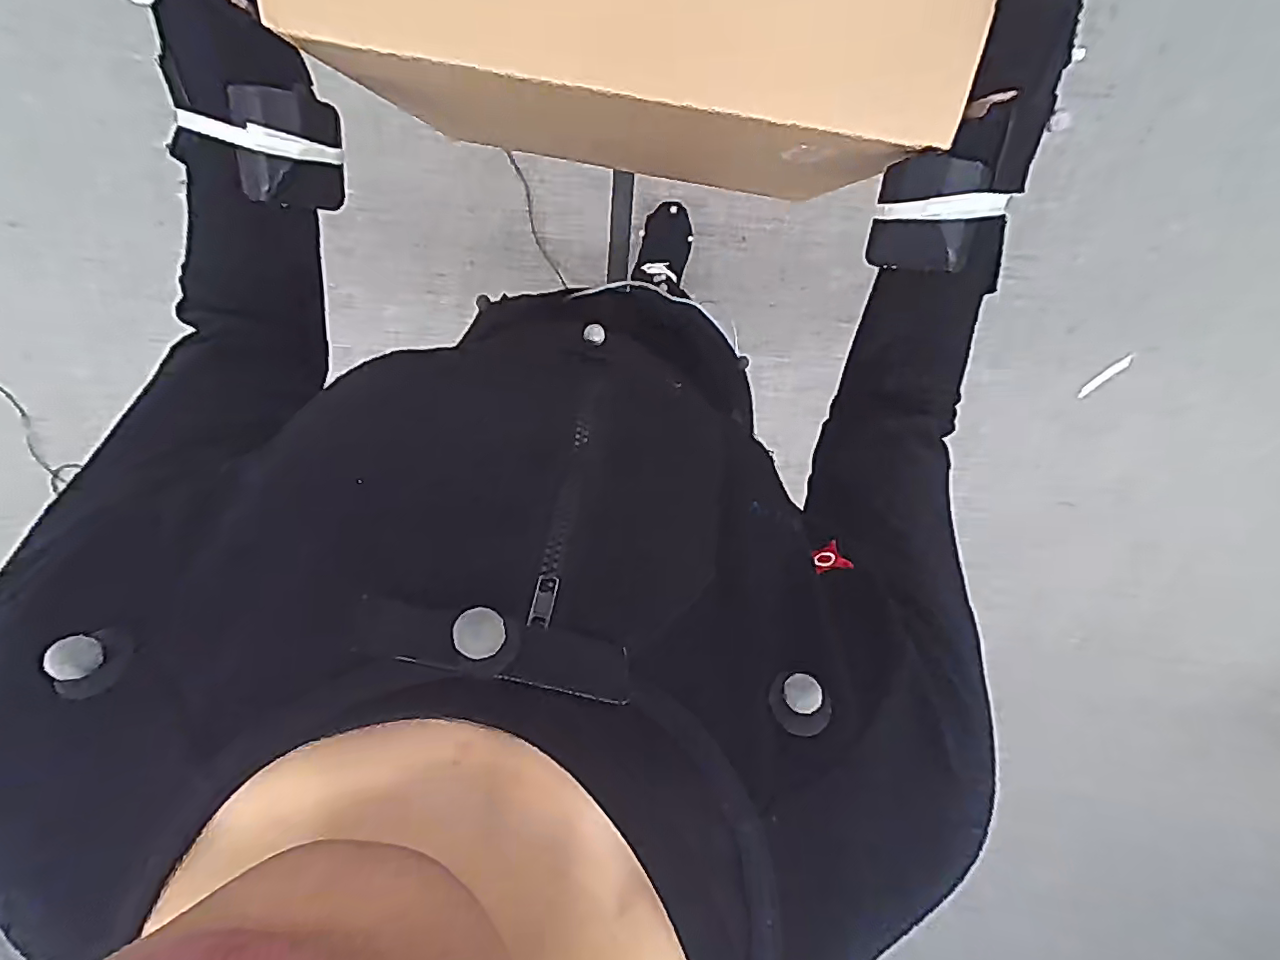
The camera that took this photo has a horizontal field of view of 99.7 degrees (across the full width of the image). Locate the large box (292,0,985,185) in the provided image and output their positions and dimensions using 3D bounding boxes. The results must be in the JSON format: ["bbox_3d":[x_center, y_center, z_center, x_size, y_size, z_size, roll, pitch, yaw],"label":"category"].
[{"bbox_3d":[0.013,-0.437,0.403,0.408,0.320,0.320,8,113,-3],"label":"large box"}]
